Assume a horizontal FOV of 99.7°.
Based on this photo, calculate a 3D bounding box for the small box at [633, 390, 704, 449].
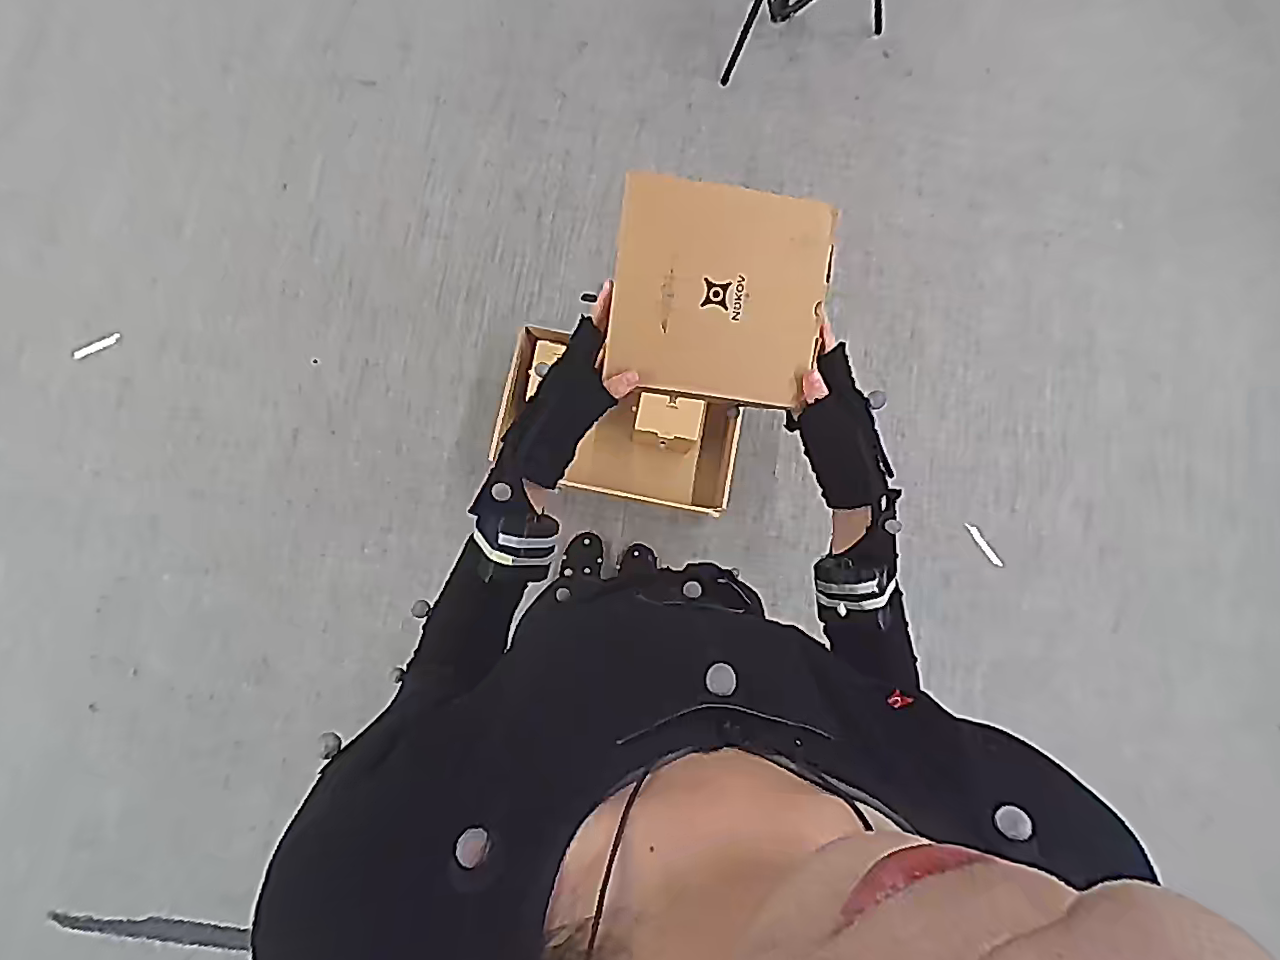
[{"bbox_3d":[0.079,-0.191,1.462,0.168,0.176,0.179,12,83,0],"label":"small box"}]

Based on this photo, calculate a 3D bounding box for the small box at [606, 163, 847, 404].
[{"bbox_3d":[0.064,-0.163,0.507,0.179,0.176,0.168,6,97,-4],"label":"small box"}]
